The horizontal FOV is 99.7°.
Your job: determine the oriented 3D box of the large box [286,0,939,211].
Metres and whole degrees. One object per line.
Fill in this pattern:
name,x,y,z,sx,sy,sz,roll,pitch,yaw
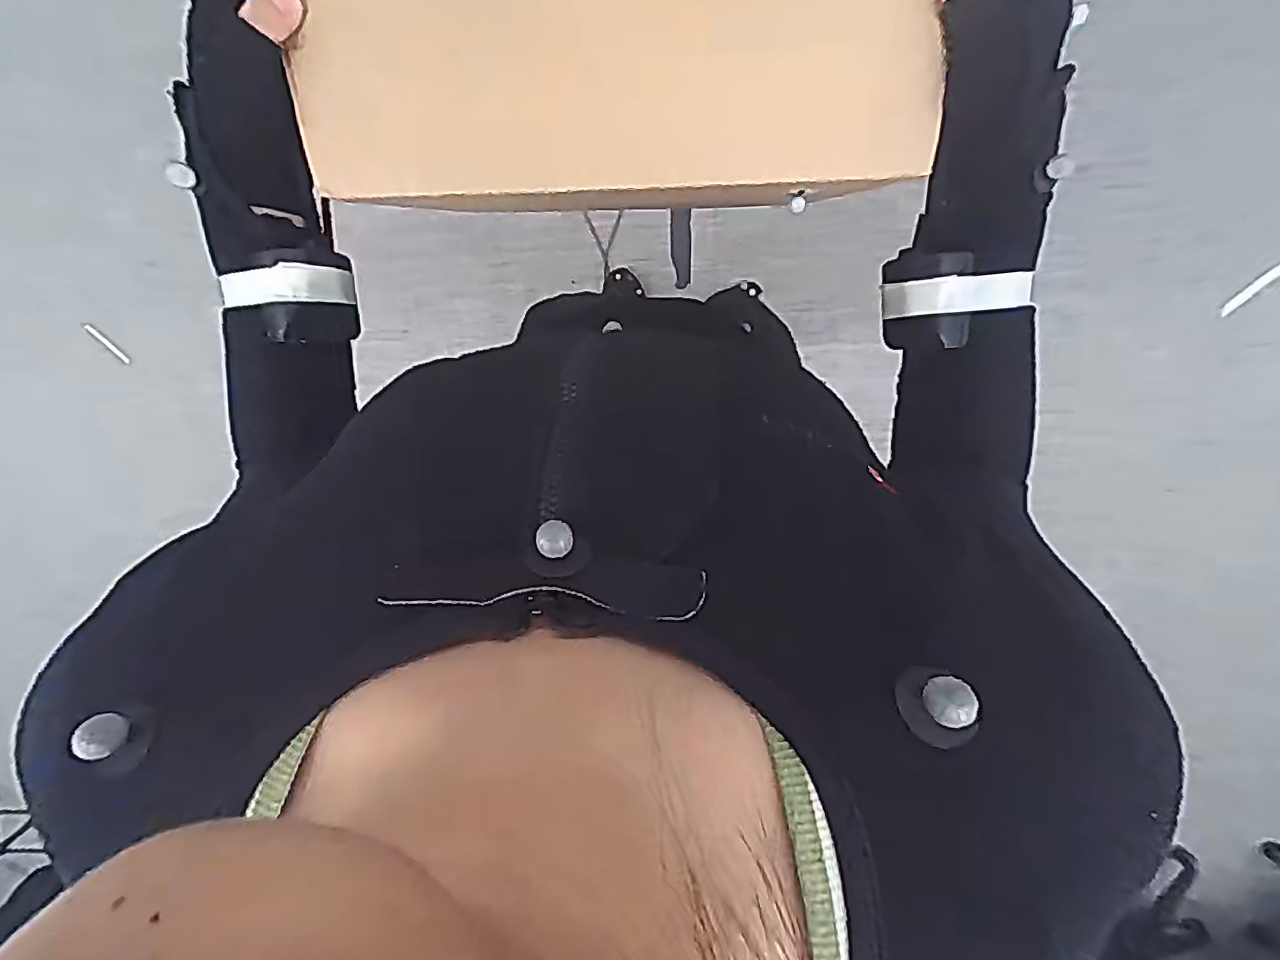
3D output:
large box,-0.013,-0.402,0.440,0.408,0.320,0.320,0,114,4
